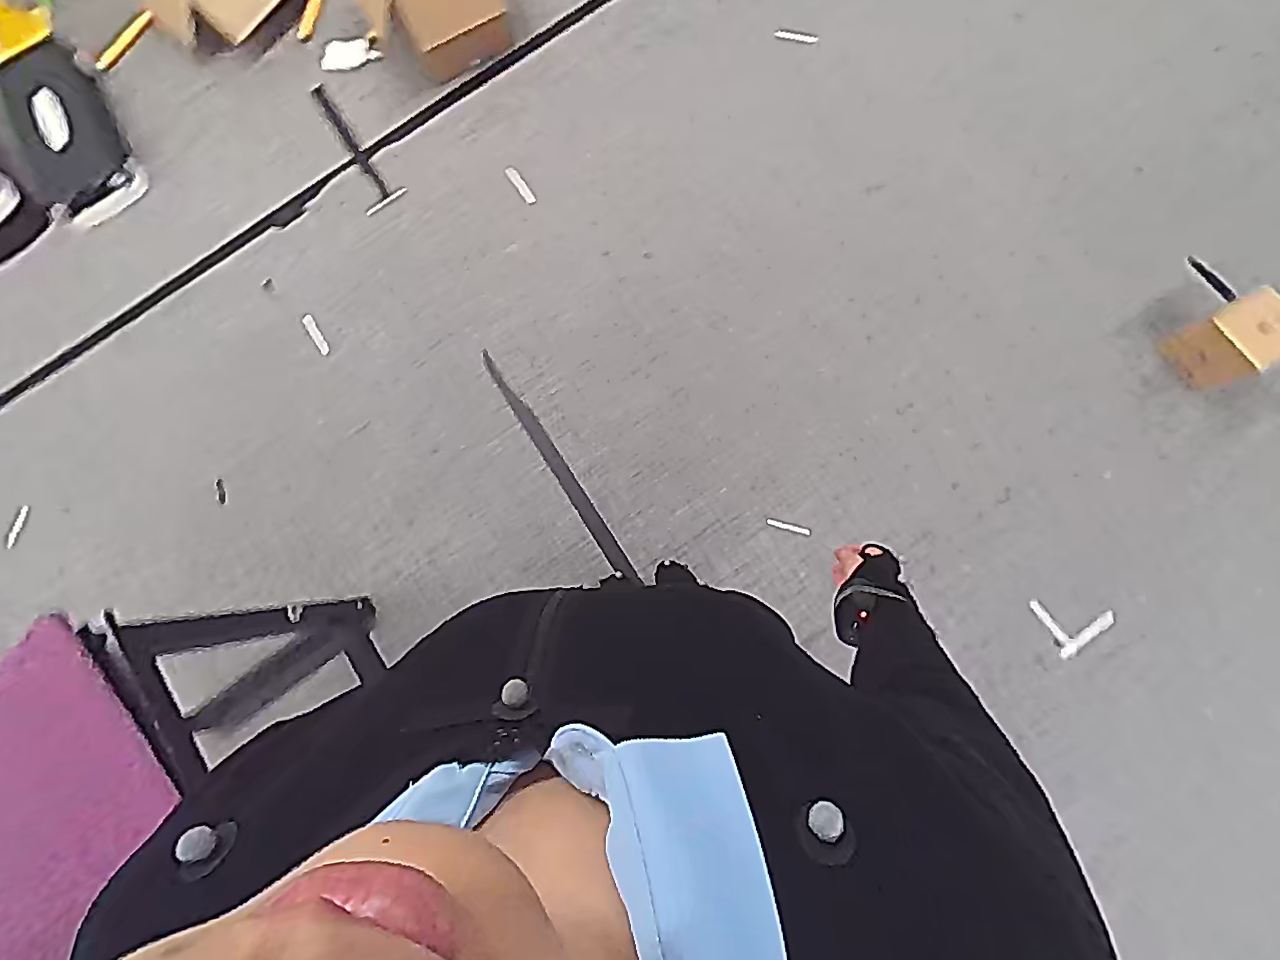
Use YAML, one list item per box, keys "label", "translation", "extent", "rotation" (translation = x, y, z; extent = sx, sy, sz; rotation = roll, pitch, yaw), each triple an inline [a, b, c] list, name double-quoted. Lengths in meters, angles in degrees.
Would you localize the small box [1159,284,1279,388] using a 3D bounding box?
- label: "small box"
  translation: [1.534, -0.368, 1.417]
  extent: [0.179, 0.176, 0.168]
  rotation: [-32, 80, -2]
